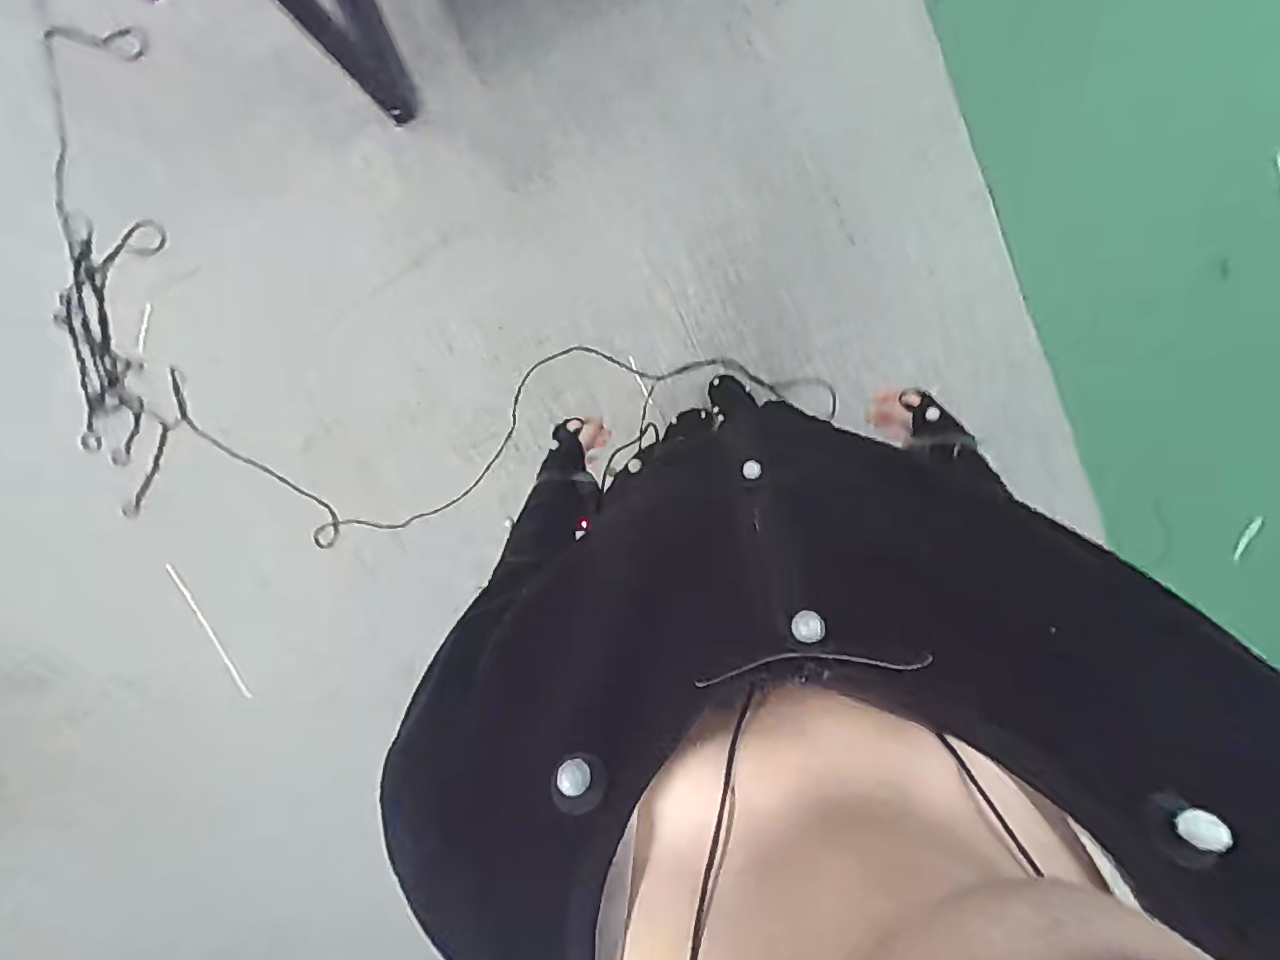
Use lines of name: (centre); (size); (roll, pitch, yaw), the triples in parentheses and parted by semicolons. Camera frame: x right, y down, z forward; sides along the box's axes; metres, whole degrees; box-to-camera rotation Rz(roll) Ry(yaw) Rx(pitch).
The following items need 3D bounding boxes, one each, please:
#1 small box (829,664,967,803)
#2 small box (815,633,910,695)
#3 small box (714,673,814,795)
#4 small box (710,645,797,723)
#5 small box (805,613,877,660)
small box: (0.515, 0.506, 1.104); (0.179, 0.176, 0.168); (-27, 93, 9)
small box: (0.537, 0.486, 1.265); (0.179, 0.176, 0.168); (-27, 93, 9)
small box: (0.290, 0.605, 1.303); (0.168, 0.176, 0.179); (-27, 95, 6)
small box: (0.298, 0.581, 1.466); (0.179, 0.176, 0.168); (-26, 95, 6)
small box: (0.558, 0.473, 1.426); (0.168, 0.176, 0.179); (-27, 95, 9)
